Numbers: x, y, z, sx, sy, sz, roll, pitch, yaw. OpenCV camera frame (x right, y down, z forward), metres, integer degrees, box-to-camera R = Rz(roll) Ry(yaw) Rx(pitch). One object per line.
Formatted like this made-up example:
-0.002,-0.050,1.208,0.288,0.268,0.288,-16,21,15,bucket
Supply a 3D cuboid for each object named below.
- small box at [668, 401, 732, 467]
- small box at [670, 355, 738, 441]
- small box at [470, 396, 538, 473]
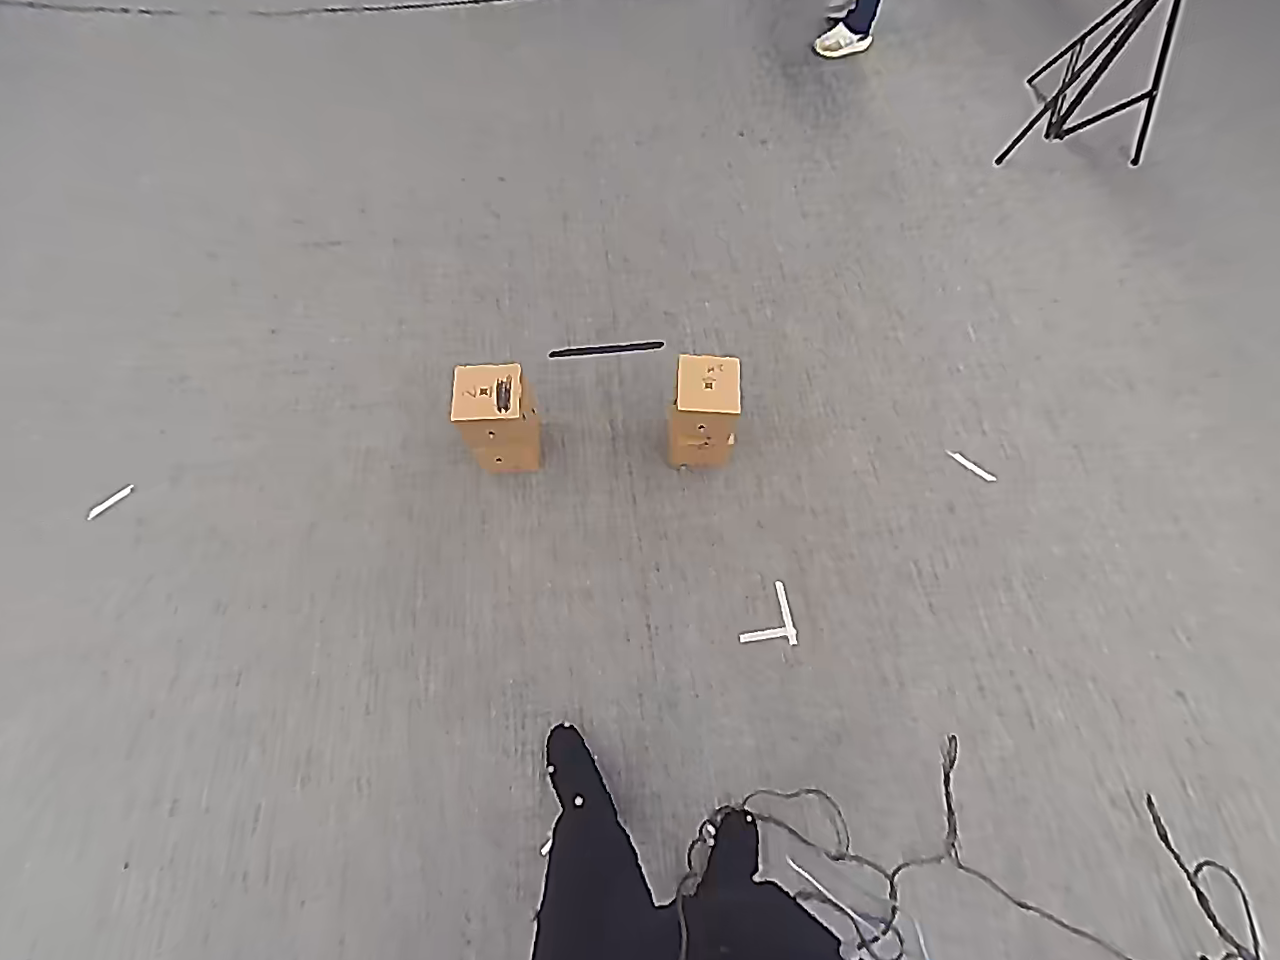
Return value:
0.175,-0.145,1.636,0.168,0.176,0.179,-2,67,-3,small box
0.173,-0.220,1.488,0.168,0.176,0.179,4,67,-1,small box
-0.398,-0.129,1.611,0.168,0.176,0.179,-4,67,-3,small box
